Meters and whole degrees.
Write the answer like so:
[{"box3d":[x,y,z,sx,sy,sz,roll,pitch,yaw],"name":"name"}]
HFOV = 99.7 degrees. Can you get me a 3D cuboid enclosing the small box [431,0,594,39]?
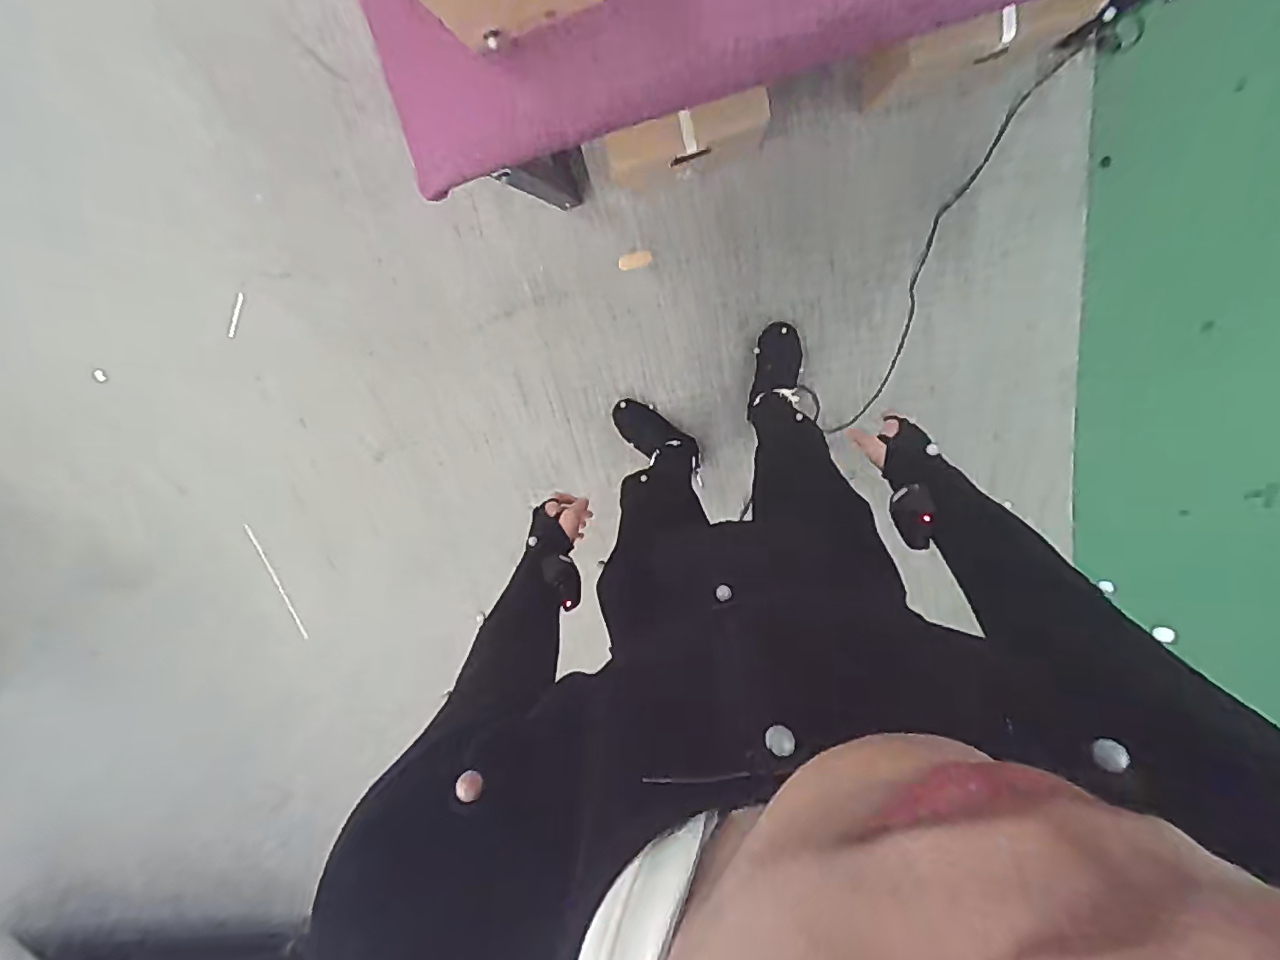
[{"box3d":[-0.148,-0.580,0.532,0.168,0.176,0.179,-13,107,10],"name":"small box"}]
